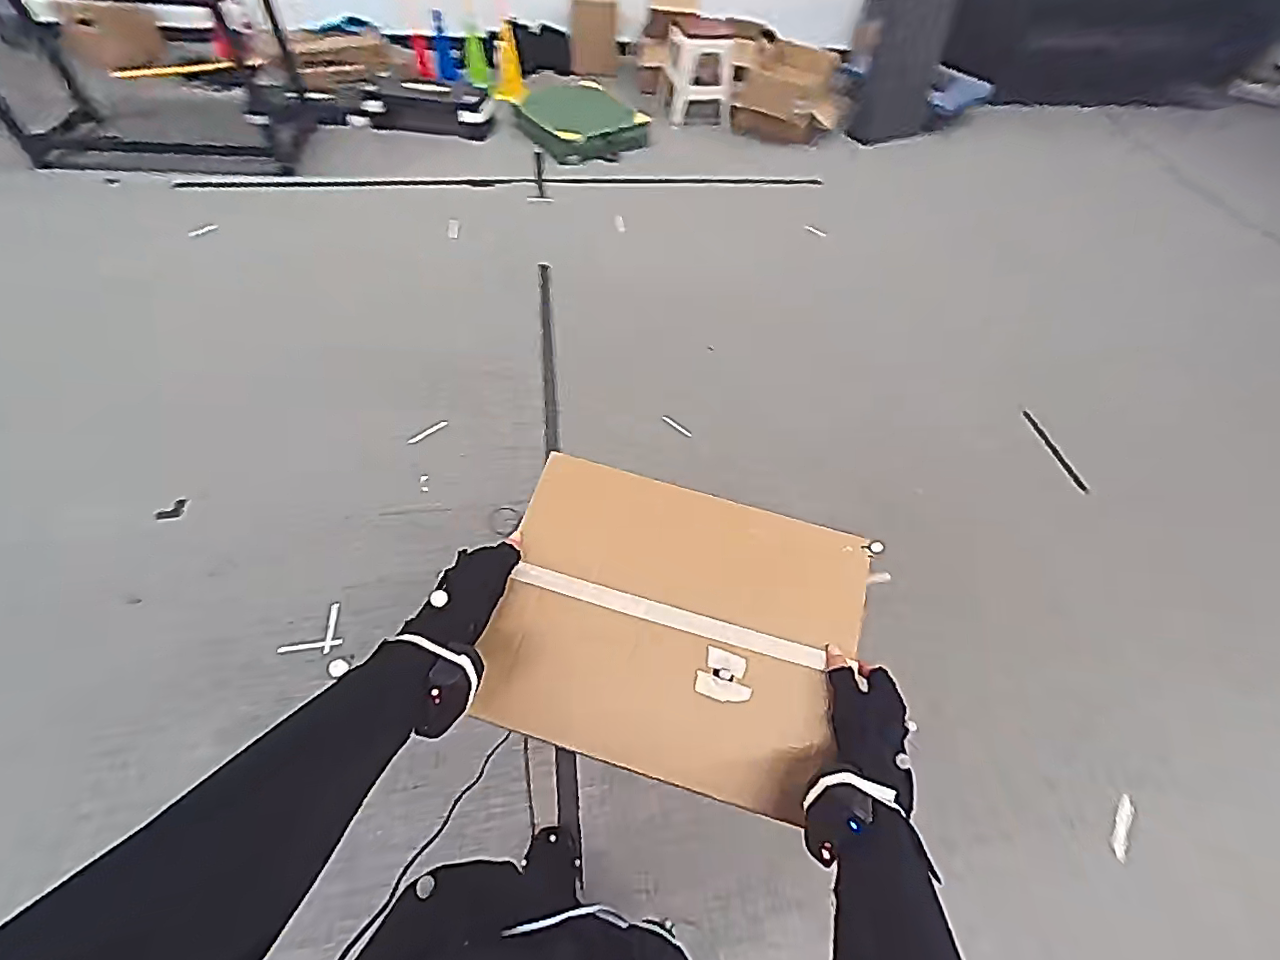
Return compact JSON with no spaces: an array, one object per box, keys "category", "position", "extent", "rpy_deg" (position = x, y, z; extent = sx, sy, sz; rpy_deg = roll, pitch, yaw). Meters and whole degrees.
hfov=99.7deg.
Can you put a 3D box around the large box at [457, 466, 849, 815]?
[{"category":"large box","position":[0.023,0.223,0.754],"extent":[0.408,0.320,0.320],"rpy_deg":[15,66,4]}]
